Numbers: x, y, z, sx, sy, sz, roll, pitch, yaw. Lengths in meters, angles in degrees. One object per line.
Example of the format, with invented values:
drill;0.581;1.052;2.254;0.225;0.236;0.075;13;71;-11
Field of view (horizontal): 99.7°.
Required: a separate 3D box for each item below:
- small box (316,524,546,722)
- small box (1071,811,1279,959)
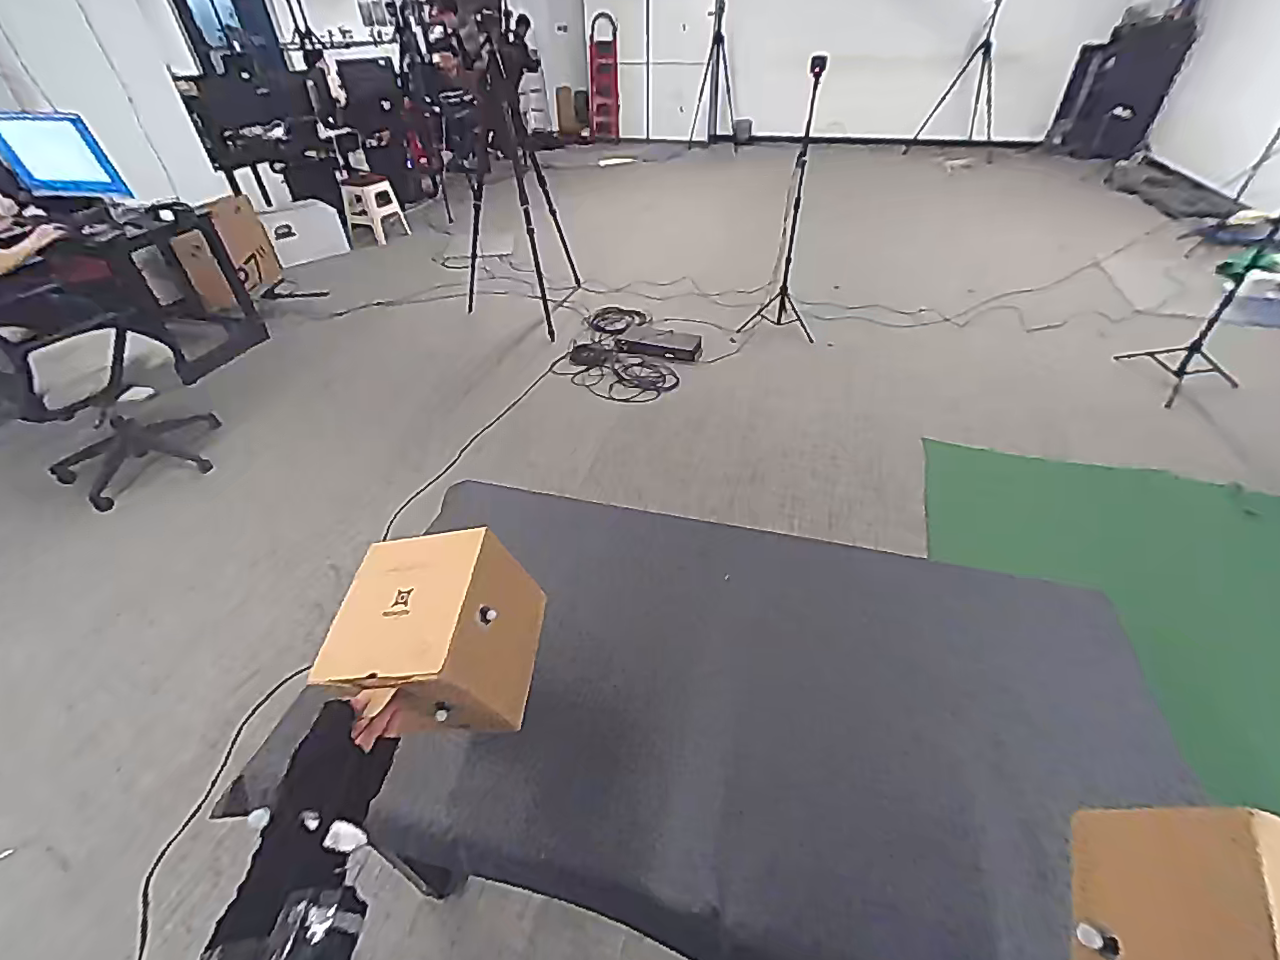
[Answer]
small box;-0.228;0.178;0.646;0.168;0.176;0.179;-8;46;15
small box;0.402;0.328;0.327;0.168;0.176;0.179;18;62;12
